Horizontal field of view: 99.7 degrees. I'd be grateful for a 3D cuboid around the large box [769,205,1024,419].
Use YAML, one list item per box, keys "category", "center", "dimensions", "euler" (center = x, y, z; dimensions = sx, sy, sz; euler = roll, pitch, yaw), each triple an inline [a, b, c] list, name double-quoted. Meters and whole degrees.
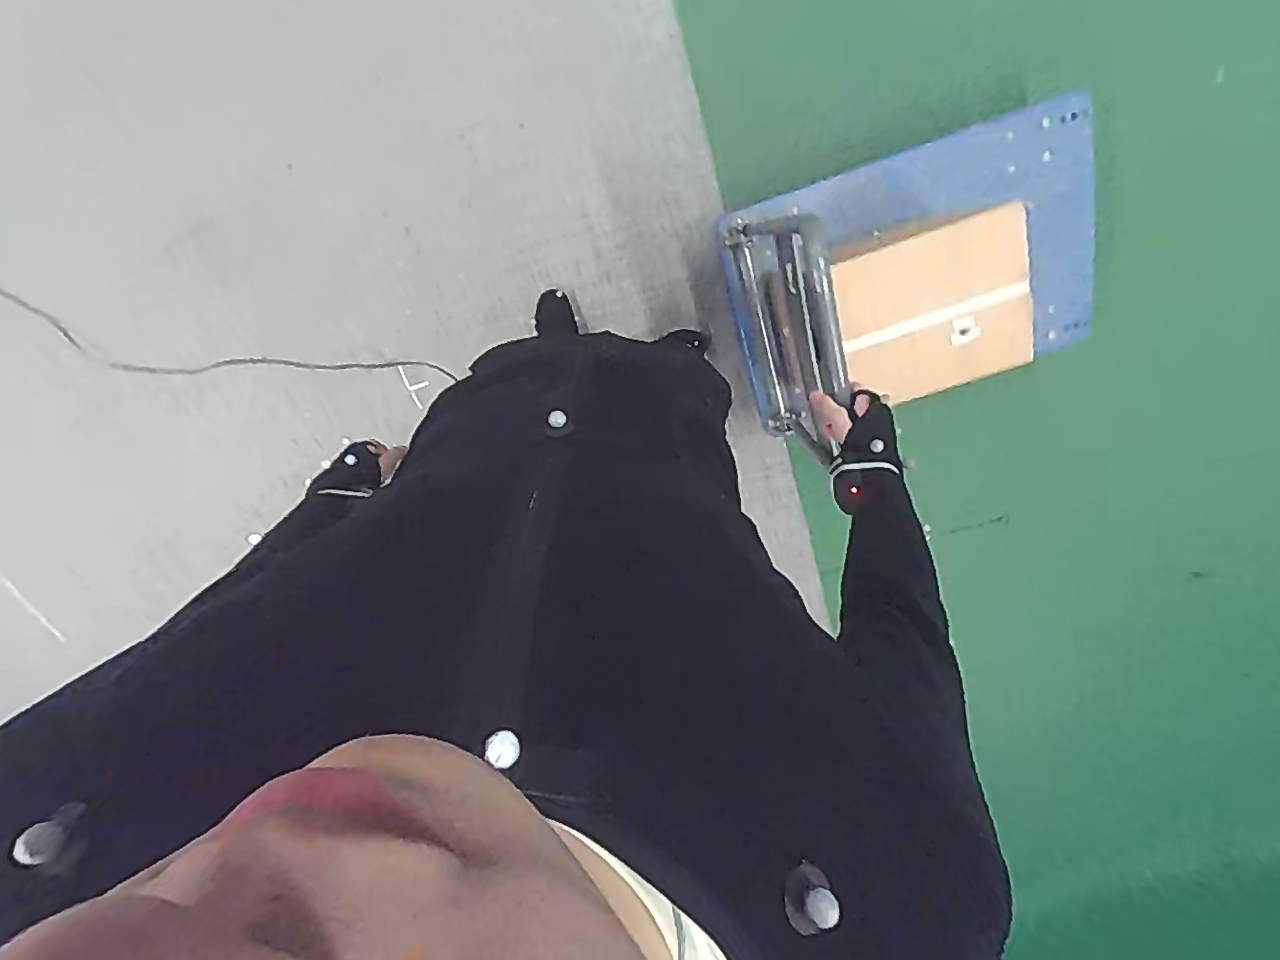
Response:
- category: "large box"
  center: [0.555, -0.375, 1.222]
  dimensions: [0.408, 0.320, 0.320]
  euler: [-18, 112, 4]
